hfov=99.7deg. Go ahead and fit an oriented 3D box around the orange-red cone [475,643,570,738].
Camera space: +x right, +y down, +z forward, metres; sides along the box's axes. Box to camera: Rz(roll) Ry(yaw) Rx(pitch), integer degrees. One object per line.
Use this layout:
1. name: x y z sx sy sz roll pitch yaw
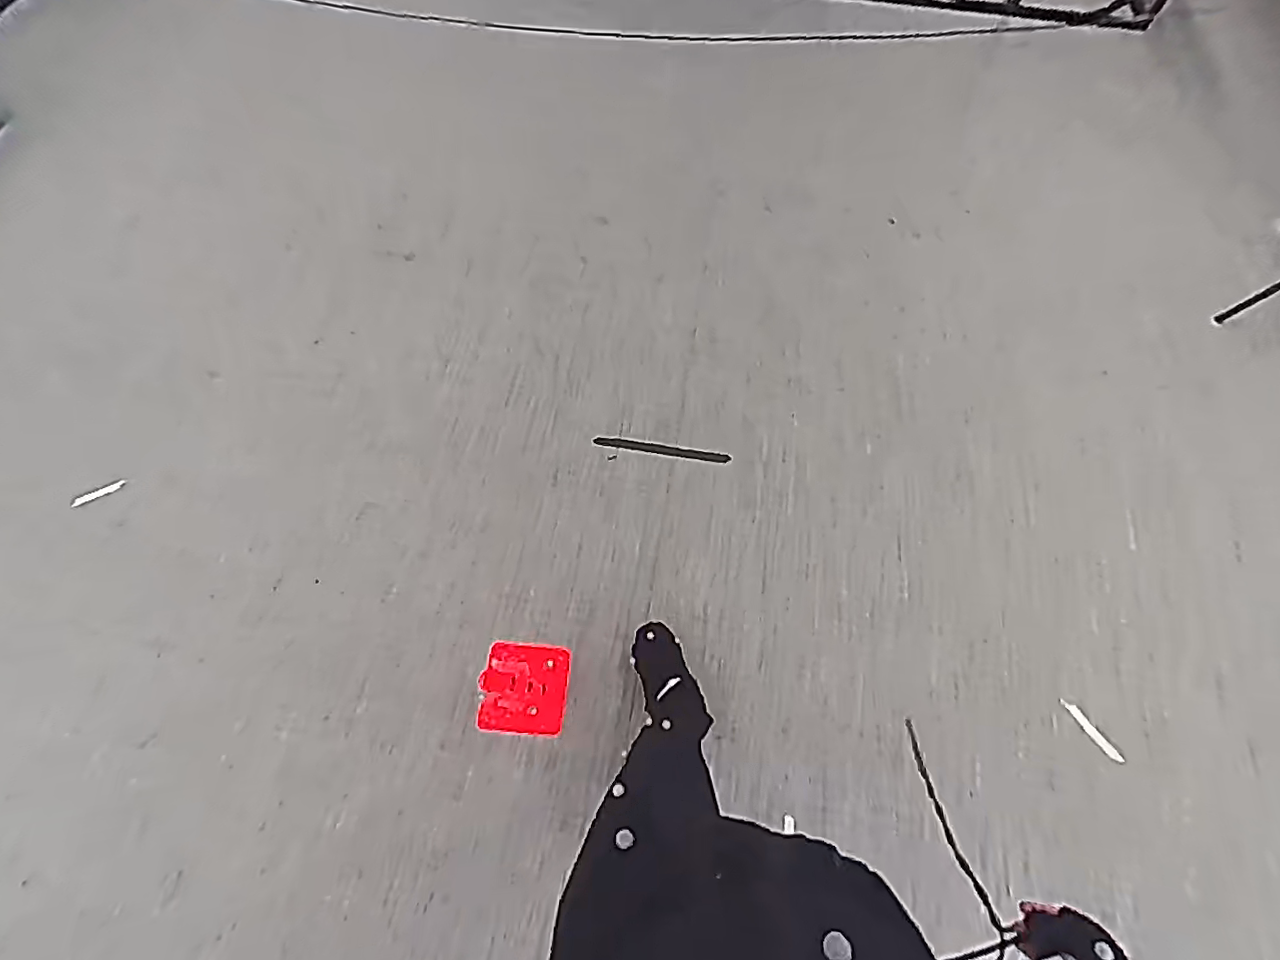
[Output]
1. orange-red cone: -0.276 0.424 1.117 0.199 0.360 0.198 5 66 3
